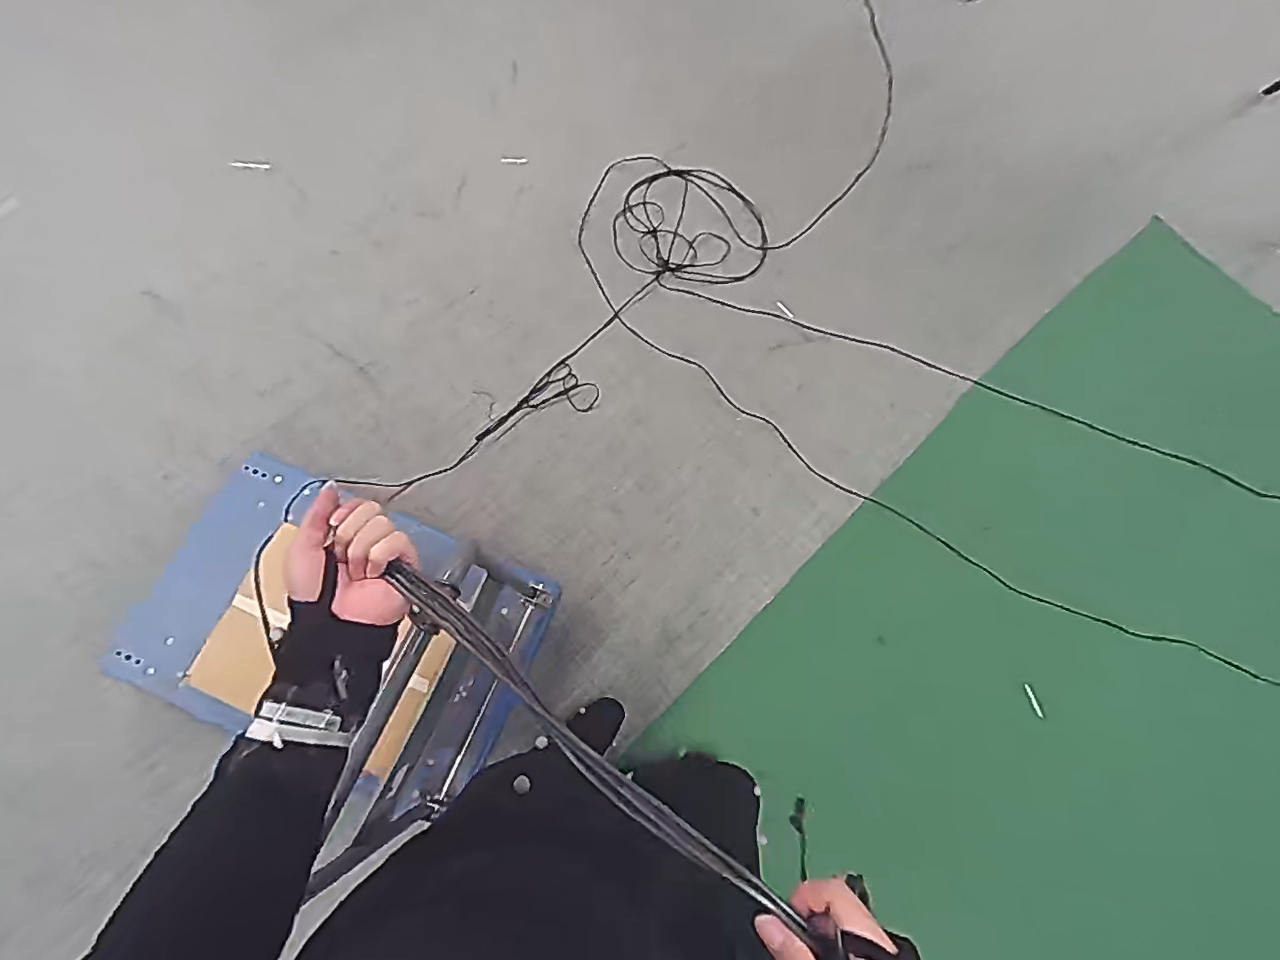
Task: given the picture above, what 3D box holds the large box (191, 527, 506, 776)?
[{"bbox_3d":[-0.541,0.335,1.102,0.408,0.320,0.320,23,73,4],"label":"large box"}]
